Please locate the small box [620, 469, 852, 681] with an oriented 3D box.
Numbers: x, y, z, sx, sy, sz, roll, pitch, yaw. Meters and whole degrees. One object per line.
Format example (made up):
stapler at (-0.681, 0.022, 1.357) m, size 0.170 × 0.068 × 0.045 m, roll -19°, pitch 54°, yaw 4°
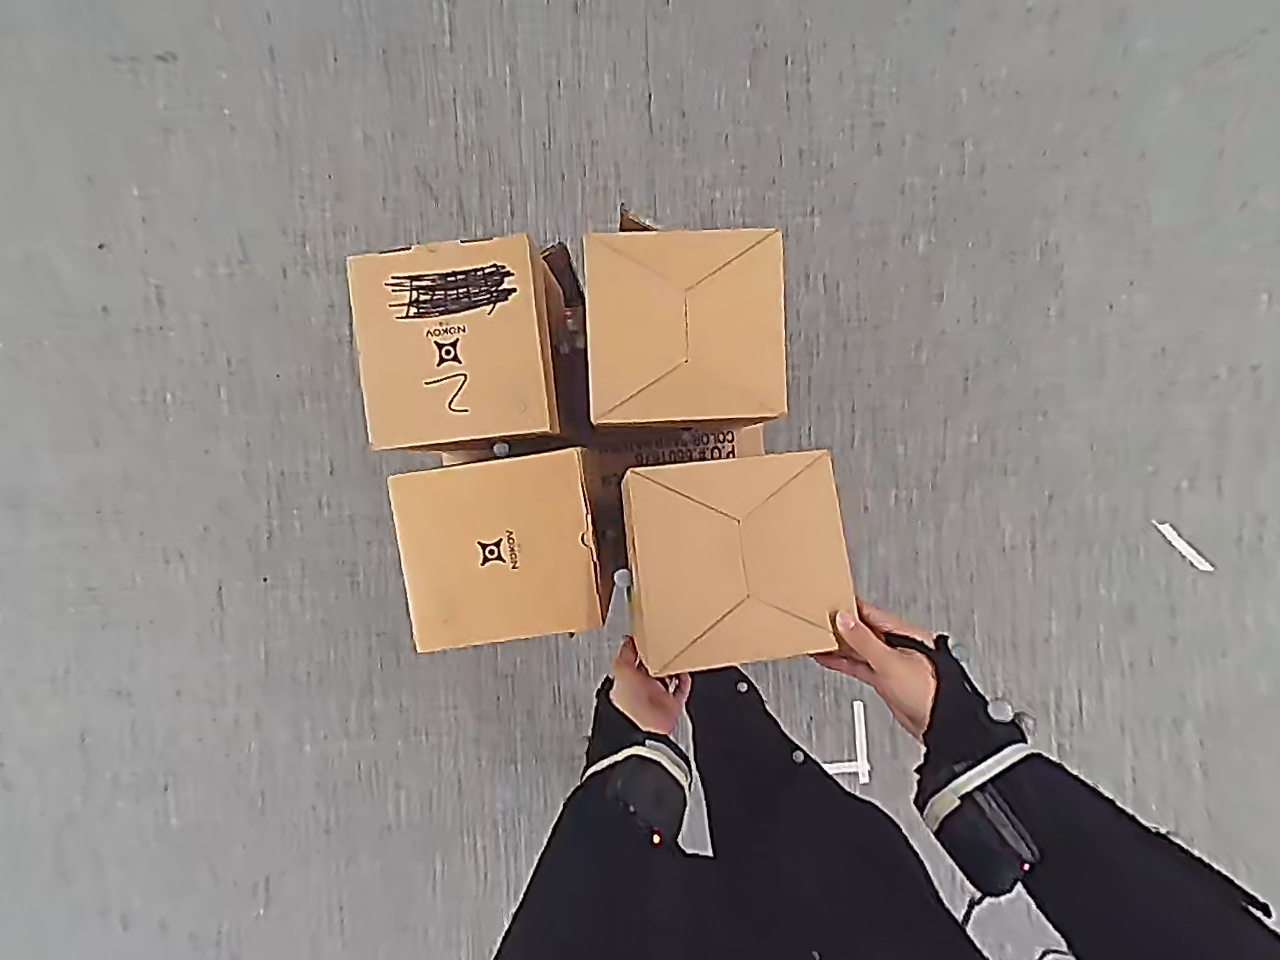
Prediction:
small box at (0.080, 0.088, 0.528) m, size 0.179 × 0.176 × 0.168 m, roll -6°, pitch 81°, yaw -7°
